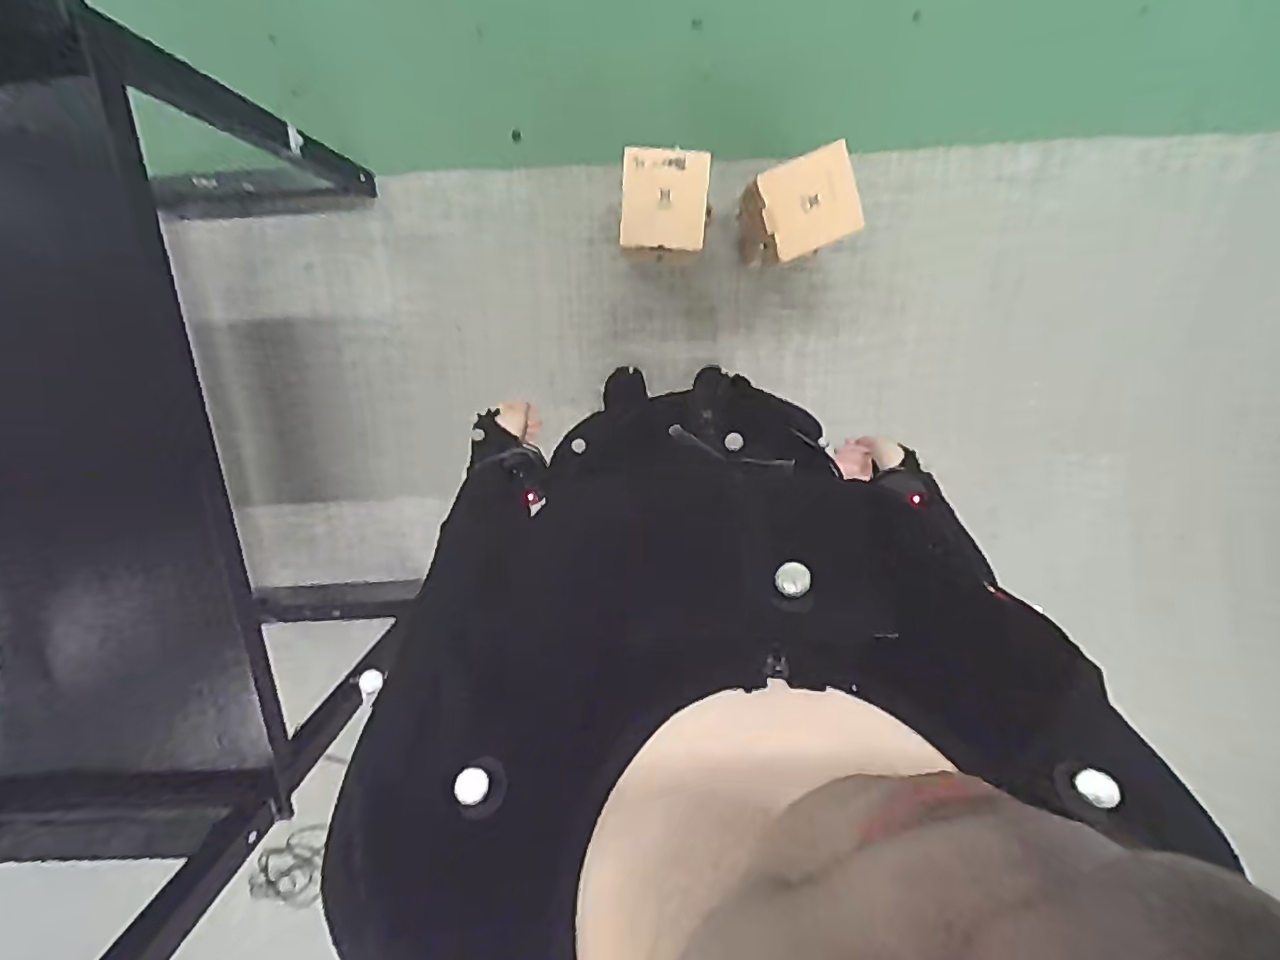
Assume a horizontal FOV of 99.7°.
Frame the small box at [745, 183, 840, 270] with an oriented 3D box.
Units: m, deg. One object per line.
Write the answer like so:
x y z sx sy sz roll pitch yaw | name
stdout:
0.344 -0.593 1.251 0.179 0.176 0.168 -9 105 3 | small box

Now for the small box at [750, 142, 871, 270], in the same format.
0.333 -0.541 1.098 0.179 0.176 0.168 -21 105 6 | small box

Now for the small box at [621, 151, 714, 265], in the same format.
0.055 -0.543 1.102 0.168 0.176 0.179 5 105 1 | small box
